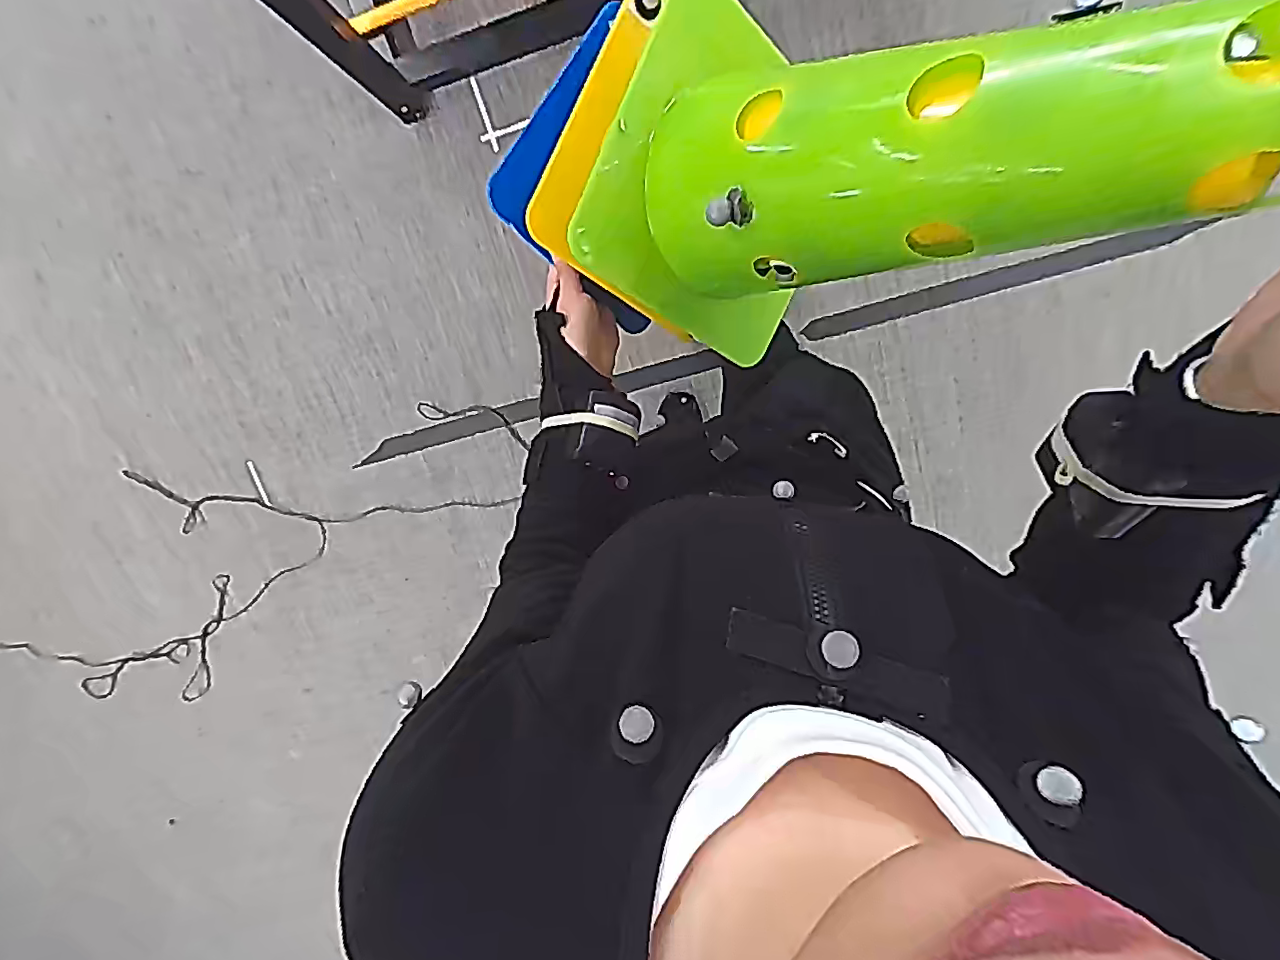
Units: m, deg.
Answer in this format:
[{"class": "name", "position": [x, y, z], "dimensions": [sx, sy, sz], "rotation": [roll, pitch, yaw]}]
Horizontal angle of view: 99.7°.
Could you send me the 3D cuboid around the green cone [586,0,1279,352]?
[{"class": "green cone", "position": [0.158, -0.160, 0.248], "dimensions": [0.200, 0.368, 0.202], "rotation": [20, 98, -35]}]
